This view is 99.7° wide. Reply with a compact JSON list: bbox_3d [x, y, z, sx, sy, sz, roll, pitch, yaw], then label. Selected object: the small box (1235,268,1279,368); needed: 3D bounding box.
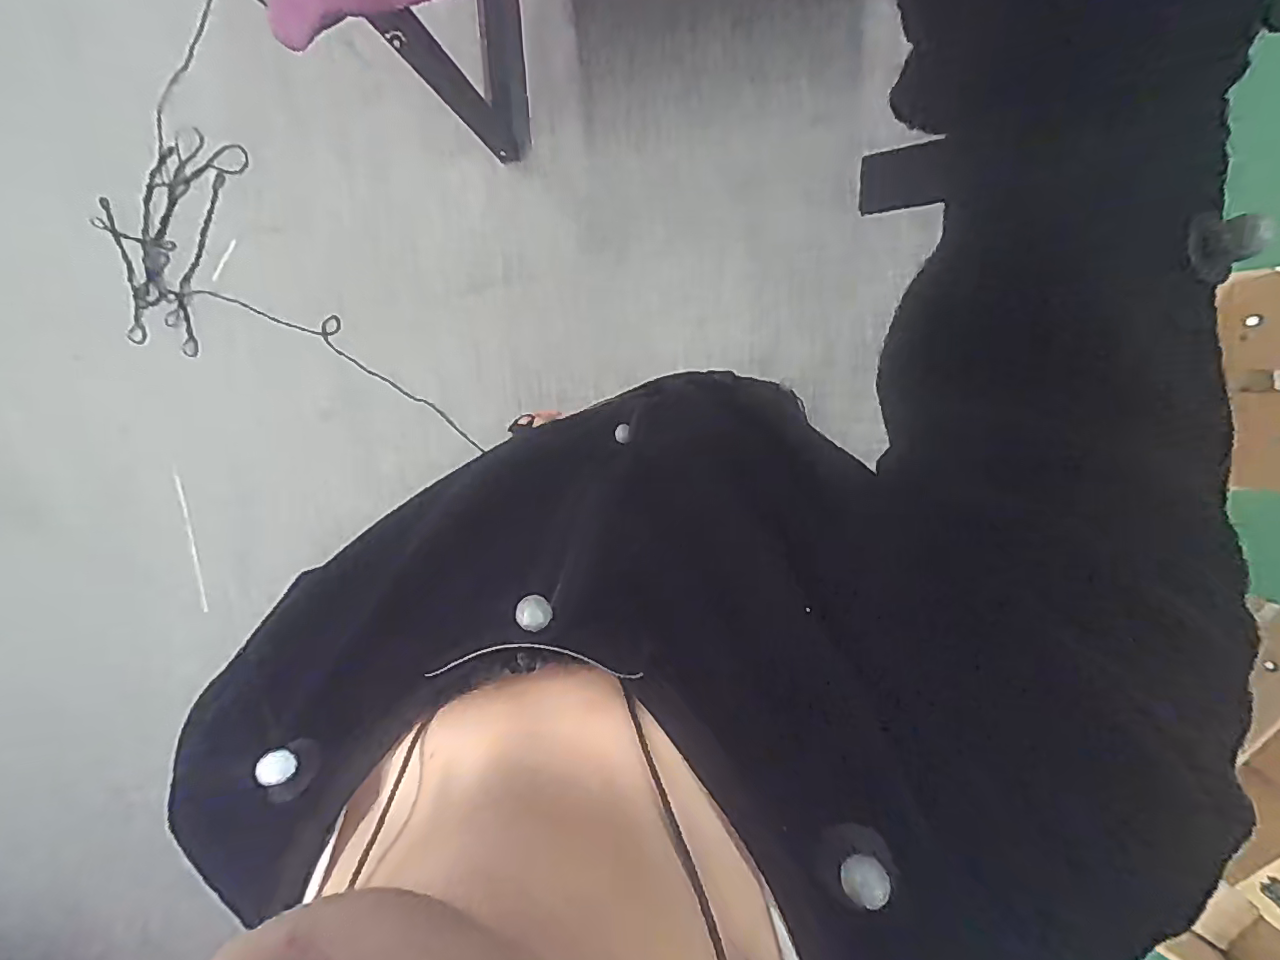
[{"bbox_3d":[1.152,-0.280,0.884,0.179,0.176,0.168,-7,97,11],"label":"small box"}]
